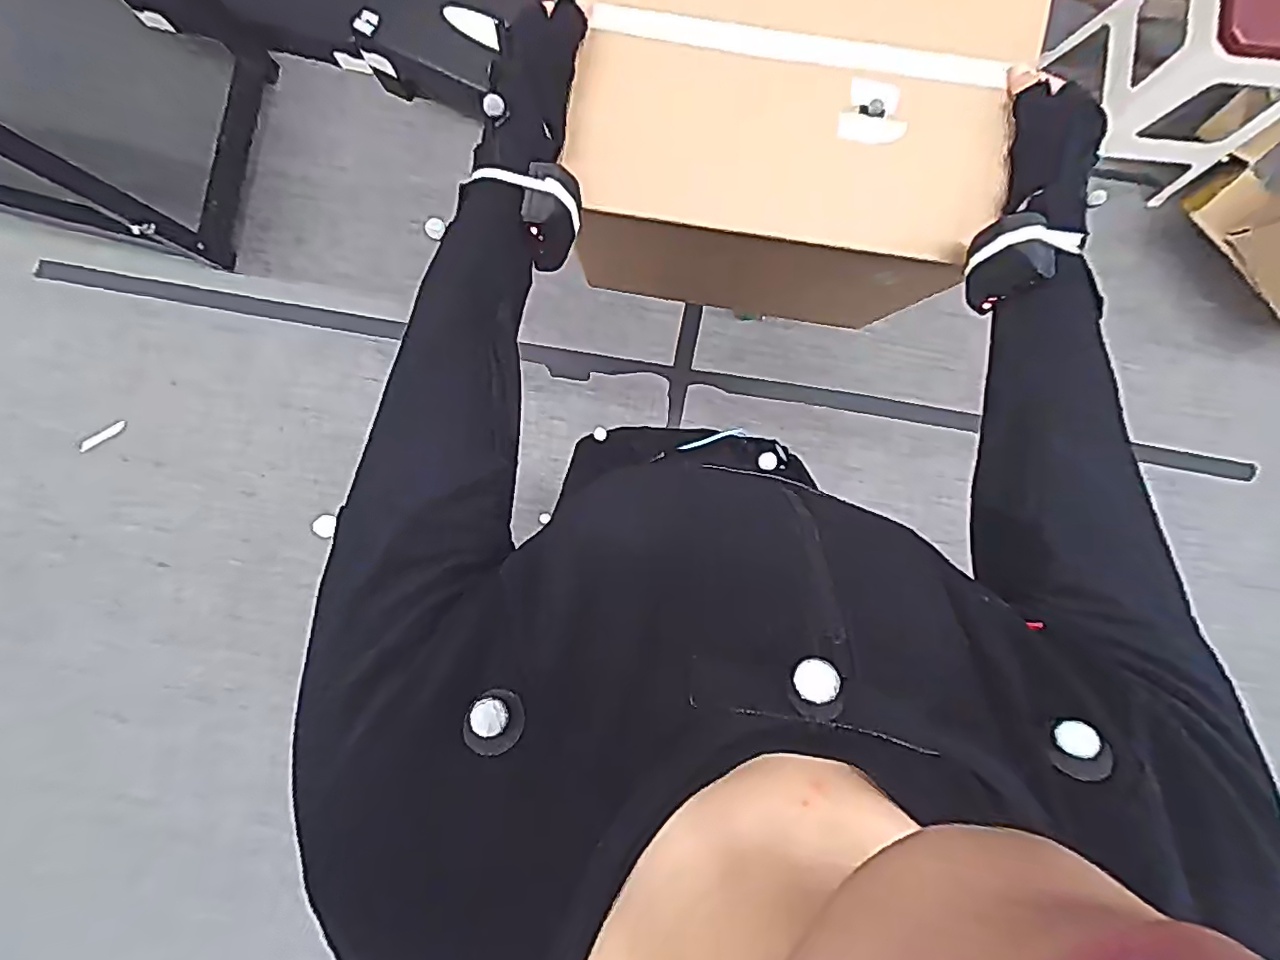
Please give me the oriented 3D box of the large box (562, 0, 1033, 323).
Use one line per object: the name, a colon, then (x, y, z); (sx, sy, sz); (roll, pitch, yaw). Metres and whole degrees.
large box: (0.140, -0.390, 0.634); (0.408, 0.320, 0.320); (8, 96, -1)
